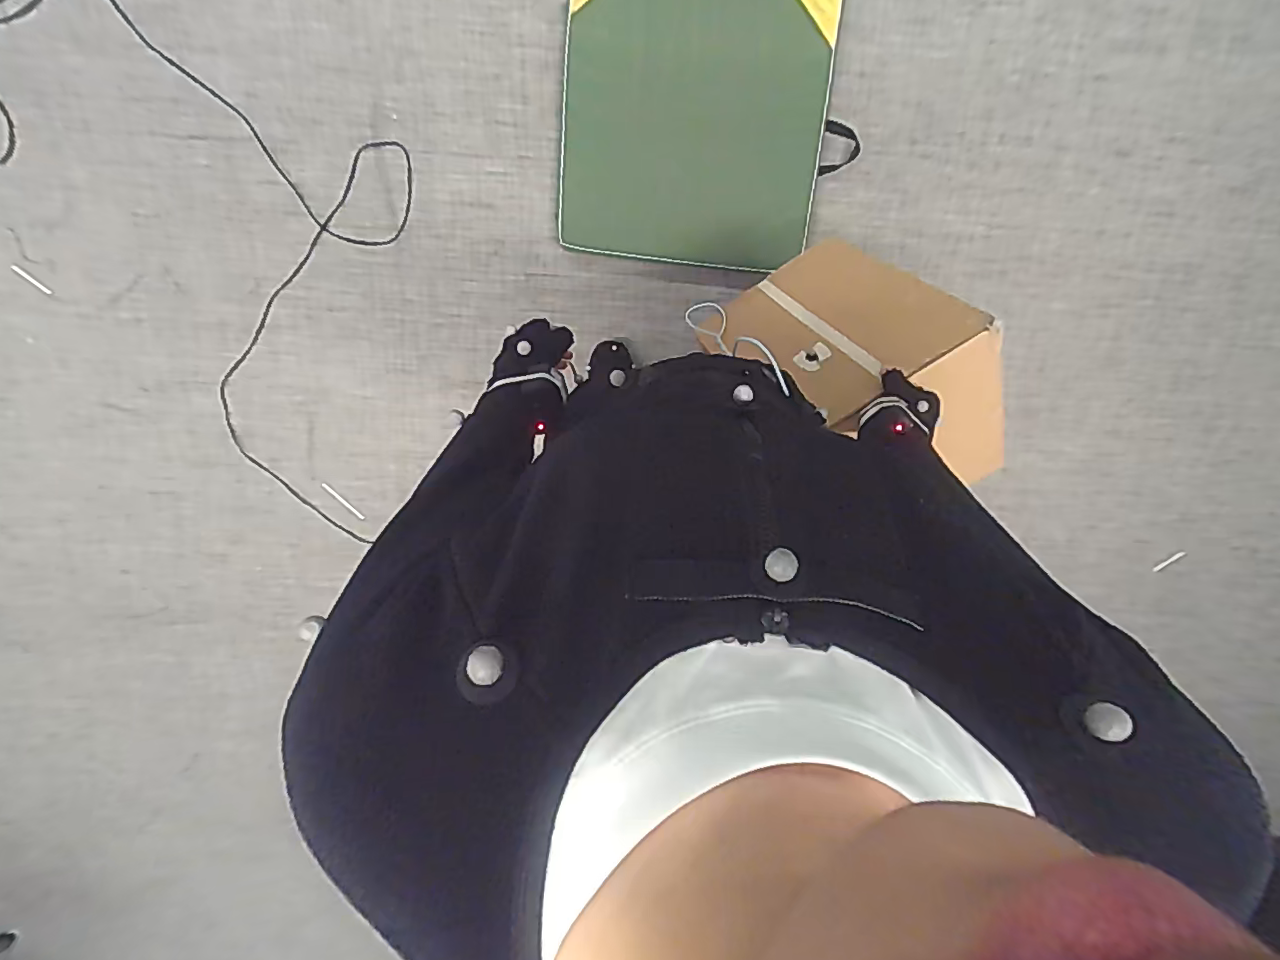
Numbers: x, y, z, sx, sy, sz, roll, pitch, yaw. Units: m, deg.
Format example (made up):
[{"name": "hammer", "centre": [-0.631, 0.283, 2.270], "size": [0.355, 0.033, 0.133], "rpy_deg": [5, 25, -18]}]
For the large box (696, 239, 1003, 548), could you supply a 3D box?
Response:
[{"name": "large box", "centre": [0.359, -0.162, 0.970], "size": [0.320, 0.408, 0.320], "rpy_deg": [-34, 132, 7]}]
